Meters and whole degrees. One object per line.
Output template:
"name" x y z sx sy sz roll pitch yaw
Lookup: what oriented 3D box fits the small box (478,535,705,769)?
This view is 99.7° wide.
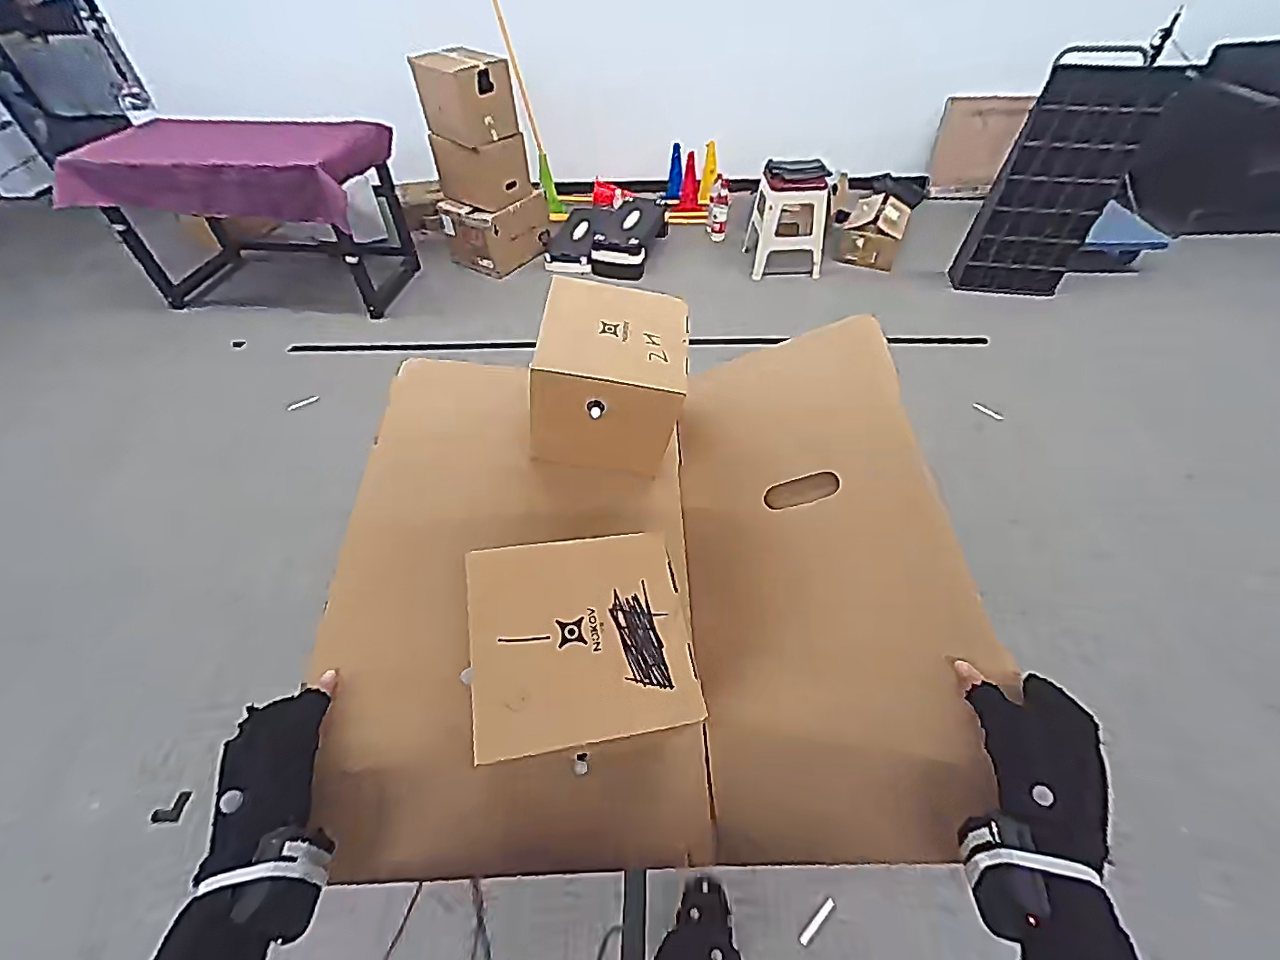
"small box" -0.058 0.167 0.518 0.179 0.176 0.168 -4 59 -13

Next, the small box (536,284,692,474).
"small box" -0.037 -0.125 0.714 0.179 0.176 0.168 10 56 -6
